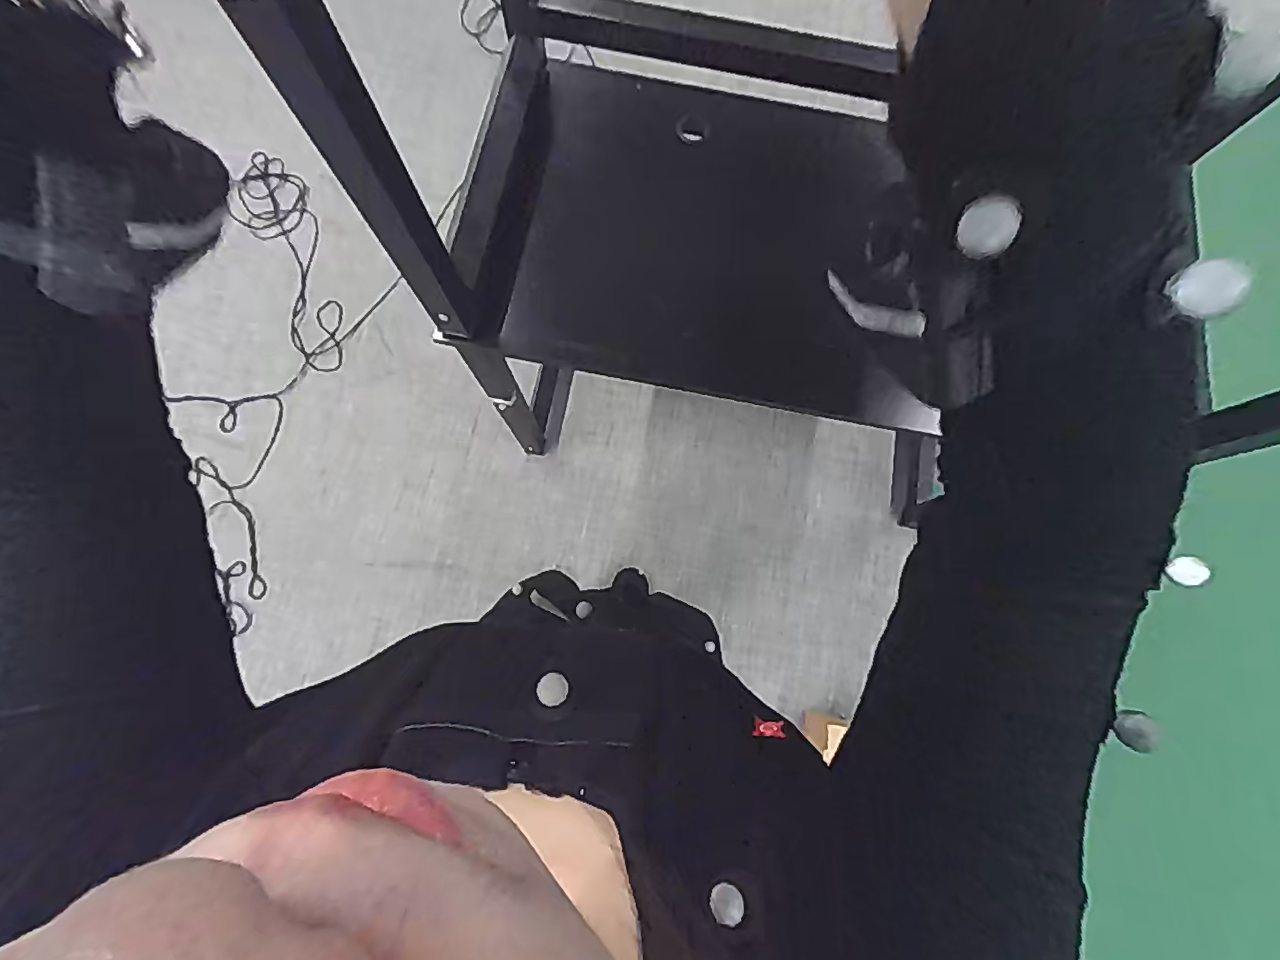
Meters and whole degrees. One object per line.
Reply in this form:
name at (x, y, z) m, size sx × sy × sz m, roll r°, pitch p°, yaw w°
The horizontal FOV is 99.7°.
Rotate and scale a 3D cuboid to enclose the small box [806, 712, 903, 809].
small box at (0.528, 0.690, 1.350) m, size 0.179 × 0.176 × 0.168 m, roll 10°, pitch 77°, yaw 1°
